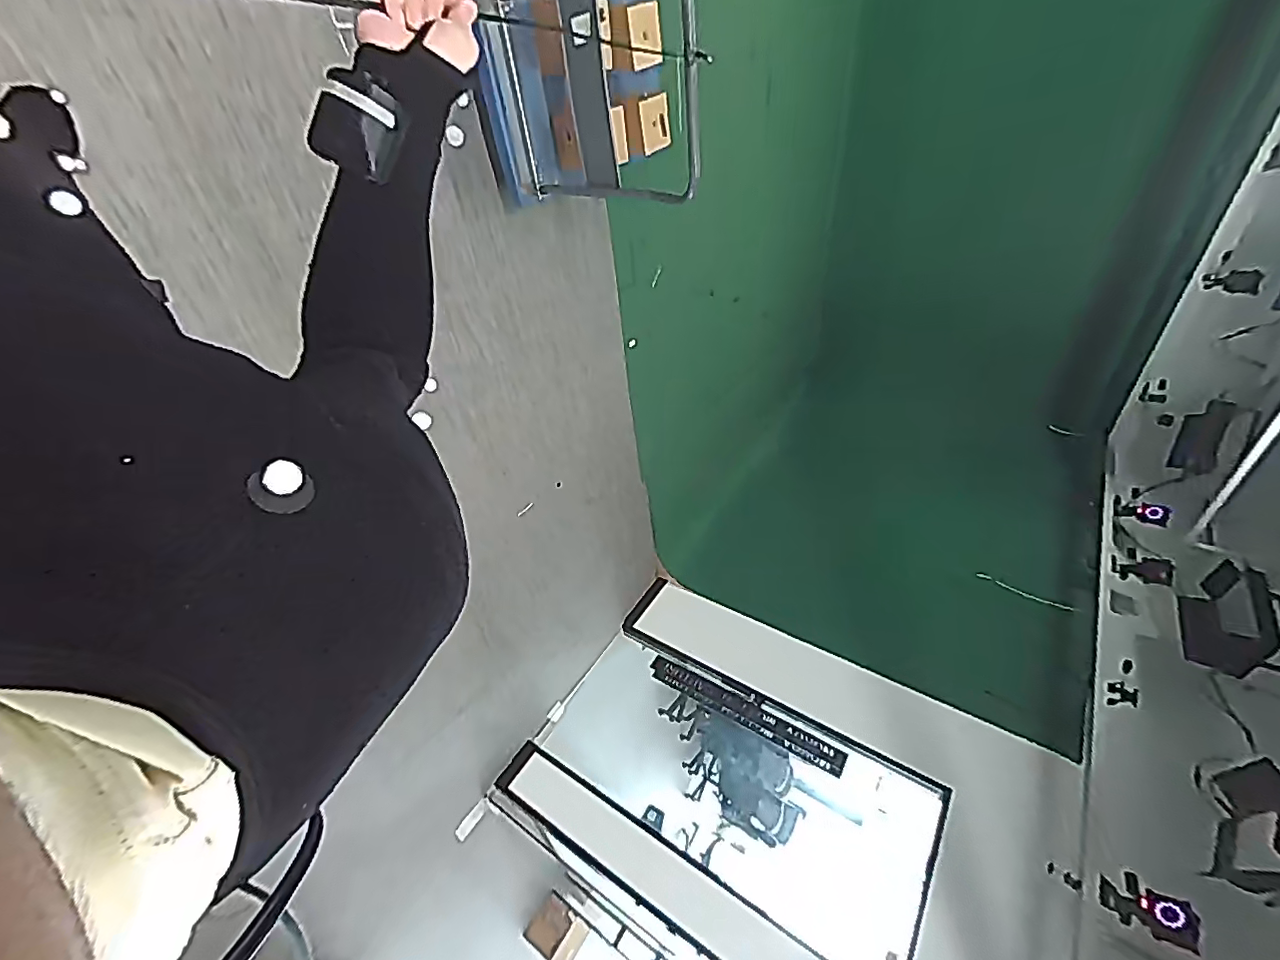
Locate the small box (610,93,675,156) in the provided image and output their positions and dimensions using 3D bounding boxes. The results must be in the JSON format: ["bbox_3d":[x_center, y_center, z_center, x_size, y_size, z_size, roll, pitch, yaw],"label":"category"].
[{"bbox_3d":[0.008,-1.311,1.995,0.179,0.176,0.168,-47,141,-33],"label":"small box"}]

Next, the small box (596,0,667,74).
[{"bbox_3d":[-0.033,-1.494,1.827,0.179,0.176,0.168,-48,143,-33],"label":"small box"}]

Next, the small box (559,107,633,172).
[{"bbox_3d":[-0.148,-1.157,1.836,0.179,0.176,0.168,-43,140,-36],"label":"small box"}]
